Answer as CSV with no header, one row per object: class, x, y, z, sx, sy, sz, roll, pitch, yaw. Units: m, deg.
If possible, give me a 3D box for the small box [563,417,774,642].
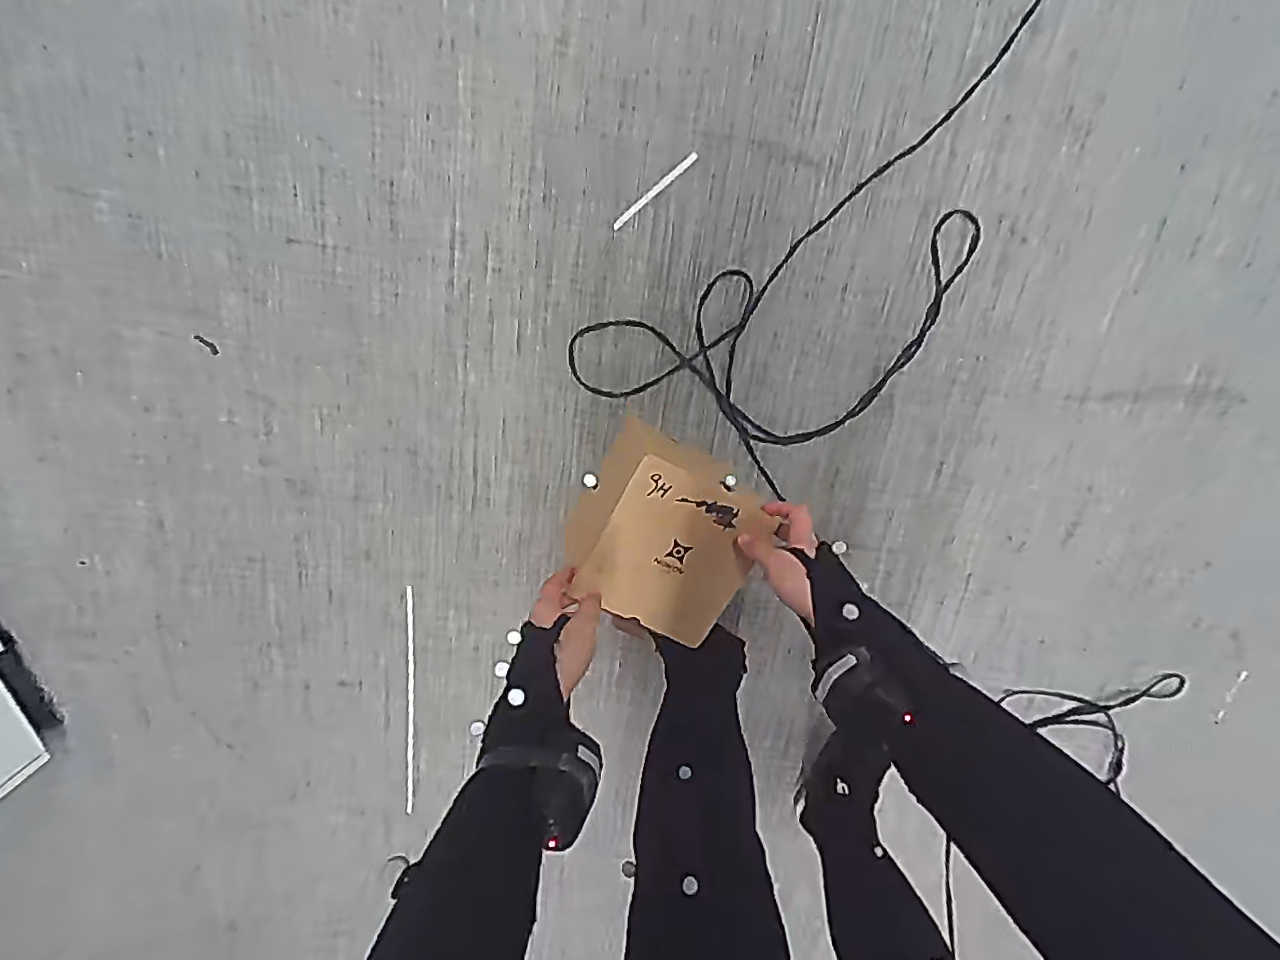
small box,0.023,0.049,0.638,0.168,0.176,0.179,25,105,-15
